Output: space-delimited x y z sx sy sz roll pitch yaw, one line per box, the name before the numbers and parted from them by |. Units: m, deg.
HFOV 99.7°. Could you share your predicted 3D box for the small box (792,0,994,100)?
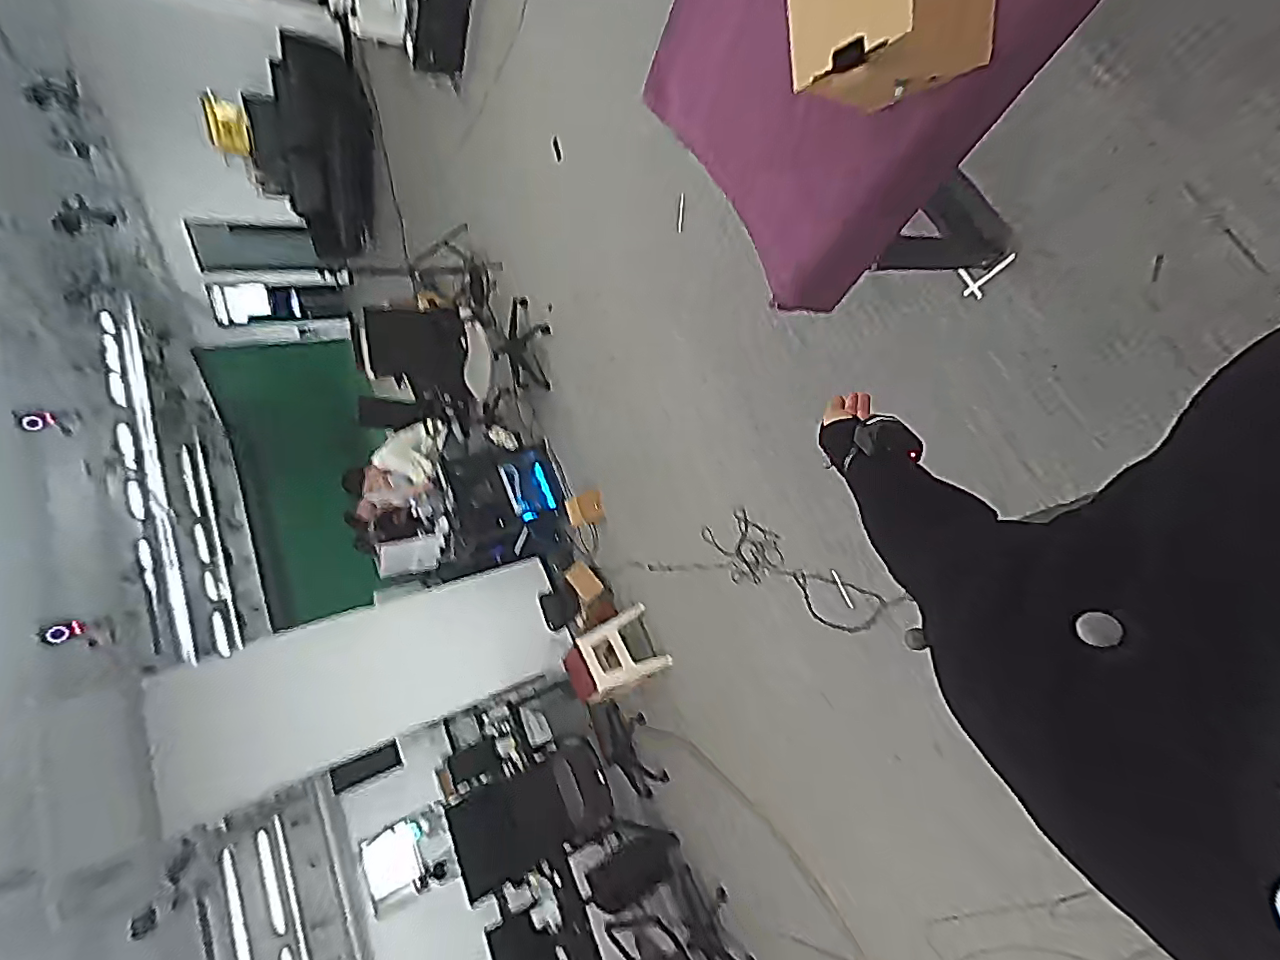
small box | 0.307 -0.598 0.653 0.168 0.176 0.179 20 118 55
